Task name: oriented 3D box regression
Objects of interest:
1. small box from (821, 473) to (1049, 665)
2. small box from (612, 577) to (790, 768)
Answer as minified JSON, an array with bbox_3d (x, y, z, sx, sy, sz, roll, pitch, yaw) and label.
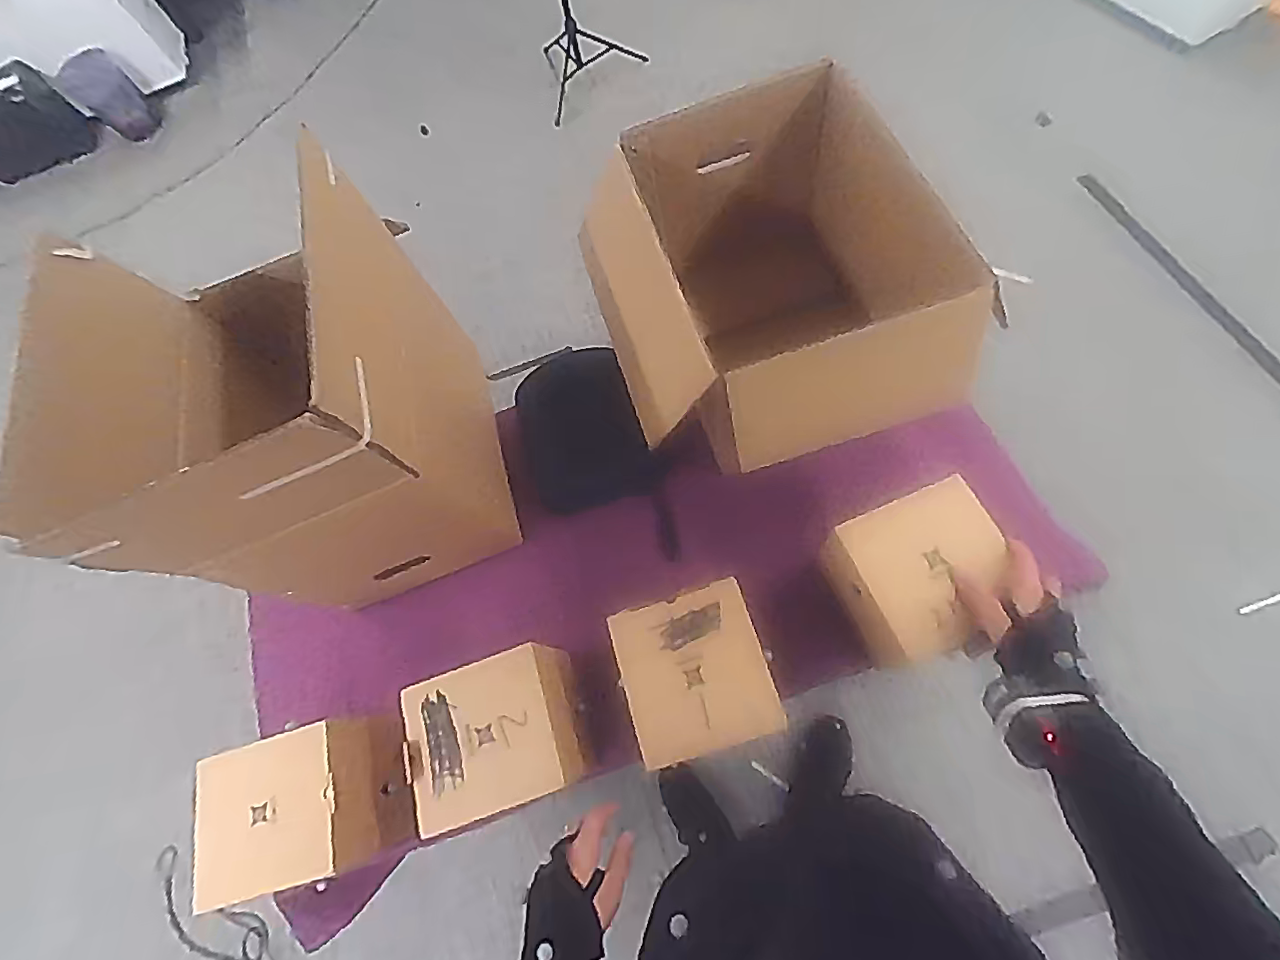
[{"bbox_3d":[0.351,0.122,0.690,0.168,0.176,0.179,-24,68,2],"label":"small box"},{"bbox_3d":[0.075,0.243,0.692,0.168,0.176,0.179,-19,69,3],"label":"small box"}]
